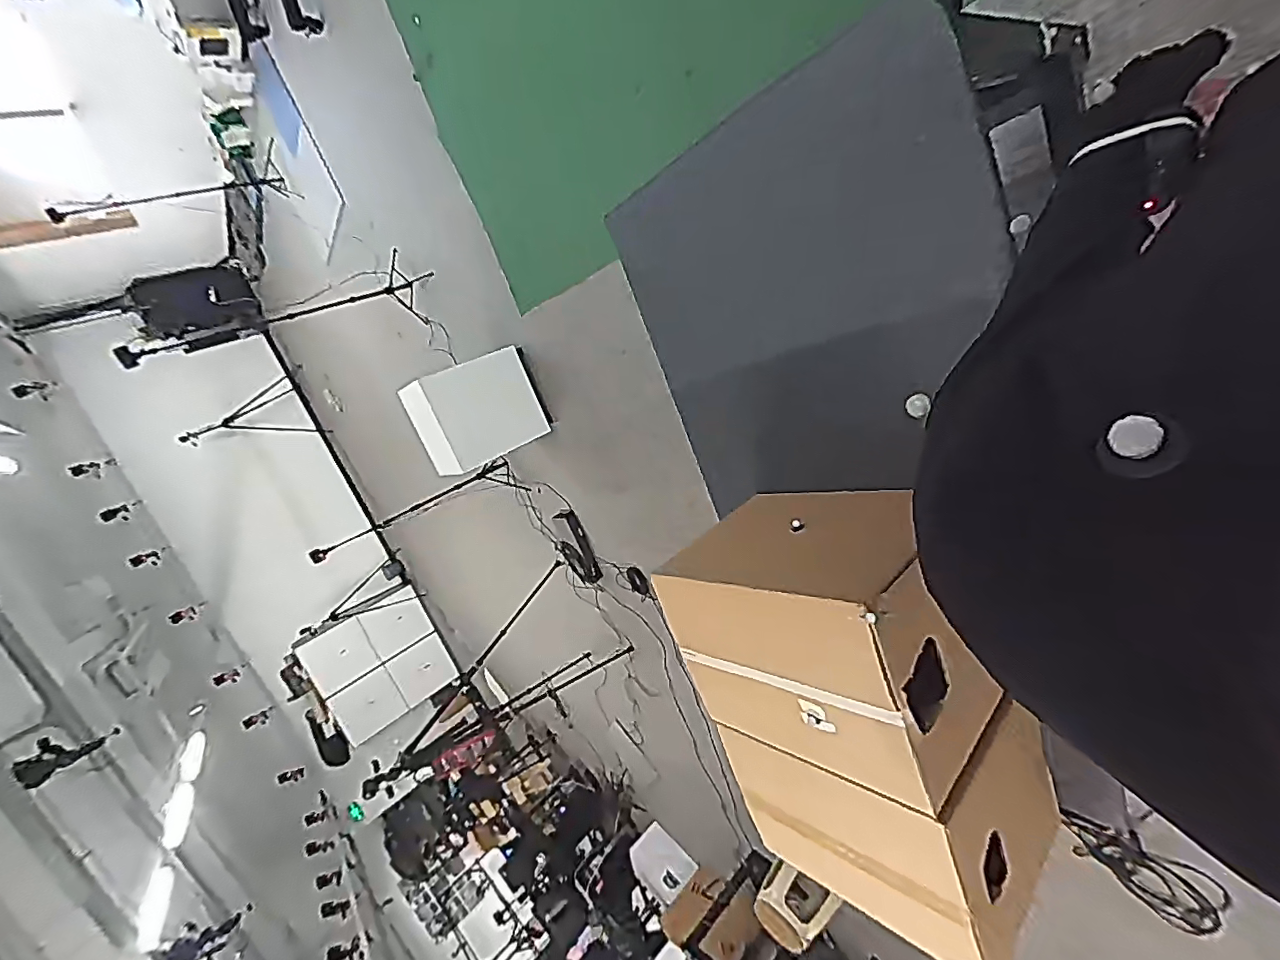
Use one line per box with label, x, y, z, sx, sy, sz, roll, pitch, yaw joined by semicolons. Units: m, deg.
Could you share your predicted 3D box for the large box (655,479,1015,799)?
large box;0.301;0.208;0.873;0.408;0.320;0.320;-6;111;53
